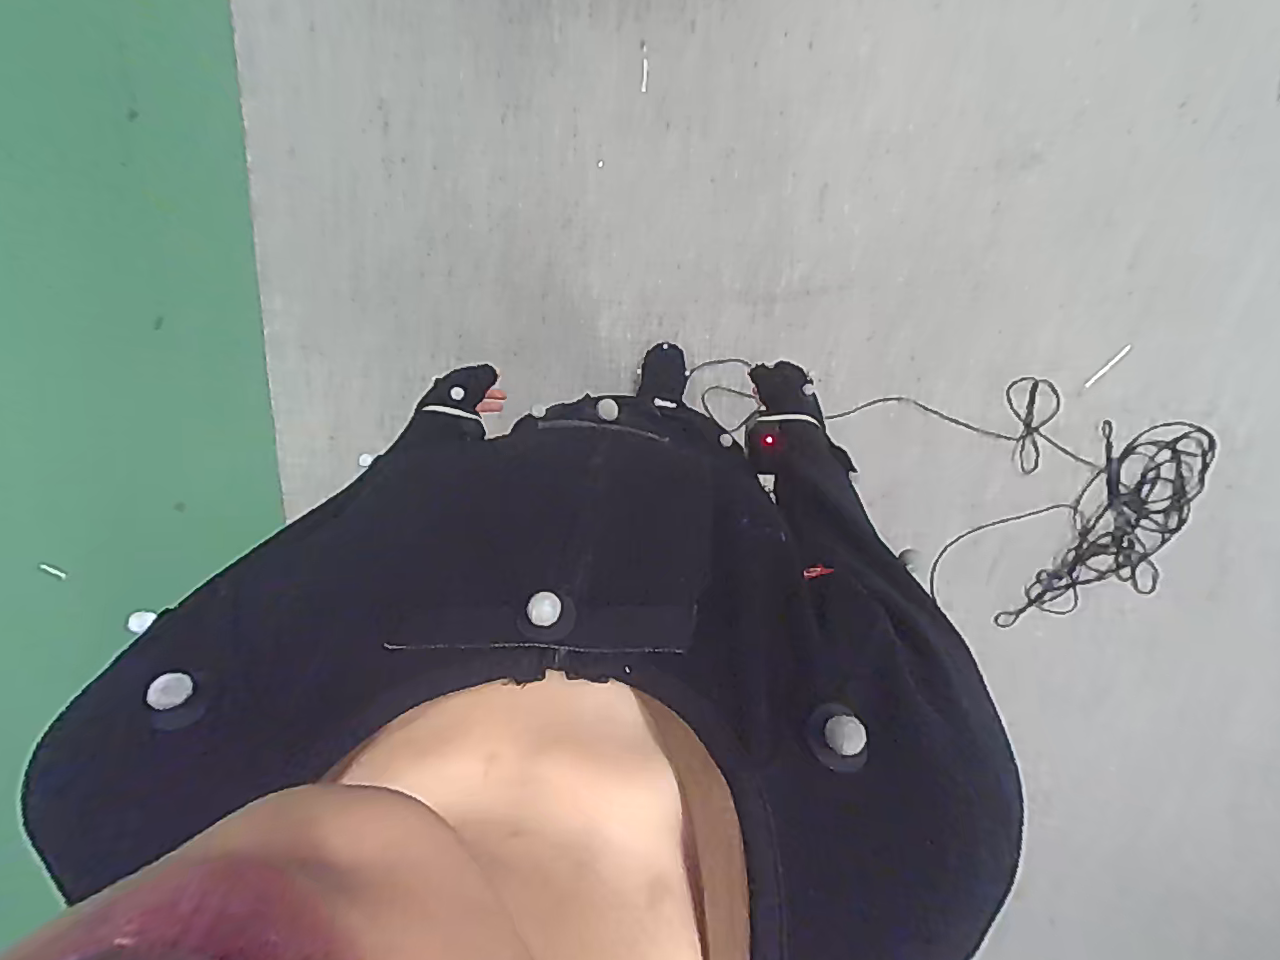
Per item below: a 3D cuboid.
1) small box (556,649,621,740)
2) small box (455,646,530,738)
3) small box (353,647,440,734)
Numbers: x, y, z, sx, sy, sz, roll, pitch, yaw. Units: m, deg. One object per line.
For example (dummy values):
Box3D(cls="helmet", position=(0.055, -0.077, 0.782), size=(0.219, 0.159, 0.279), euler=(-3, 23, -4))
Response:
Box3D(cls="small box", position=(-0.138, 0.591, 1.500), size=(0.168, 0.176, 0.179), euler=(0, 99, 0))
Box3D(cls="small box", position=(-0.405, 0.587, 1.509), size=(0.168, 0.176, 0.179), euler=(2, 100, 1))
Box3D(cls="small box", position=(-0.675, 0.583, 1.514), size=(0.168, 0.176, 0.179), euler=(-1, 100, 2))
